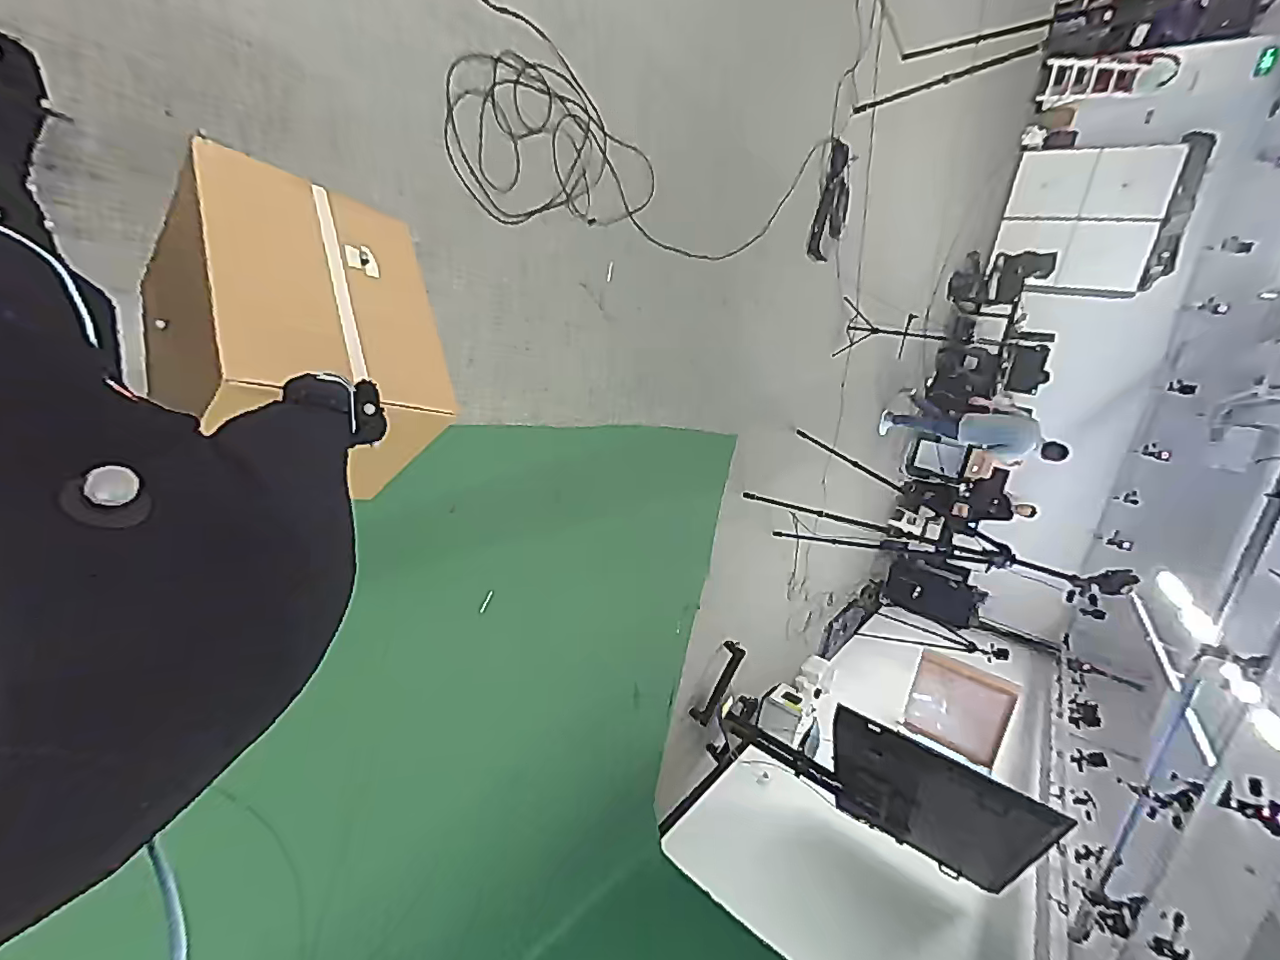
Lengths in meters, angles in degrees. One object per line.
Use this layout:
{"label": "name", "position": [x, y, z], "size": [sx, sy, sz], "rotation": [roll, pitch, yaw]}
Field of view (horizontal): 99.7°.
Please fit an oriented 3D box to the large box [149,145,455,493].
{"label": "large box", "position": [-0.566, -0.221, 0.894], "size": [0.320, 0.320, 0.408], "rotation": [4, 60, -53]}
